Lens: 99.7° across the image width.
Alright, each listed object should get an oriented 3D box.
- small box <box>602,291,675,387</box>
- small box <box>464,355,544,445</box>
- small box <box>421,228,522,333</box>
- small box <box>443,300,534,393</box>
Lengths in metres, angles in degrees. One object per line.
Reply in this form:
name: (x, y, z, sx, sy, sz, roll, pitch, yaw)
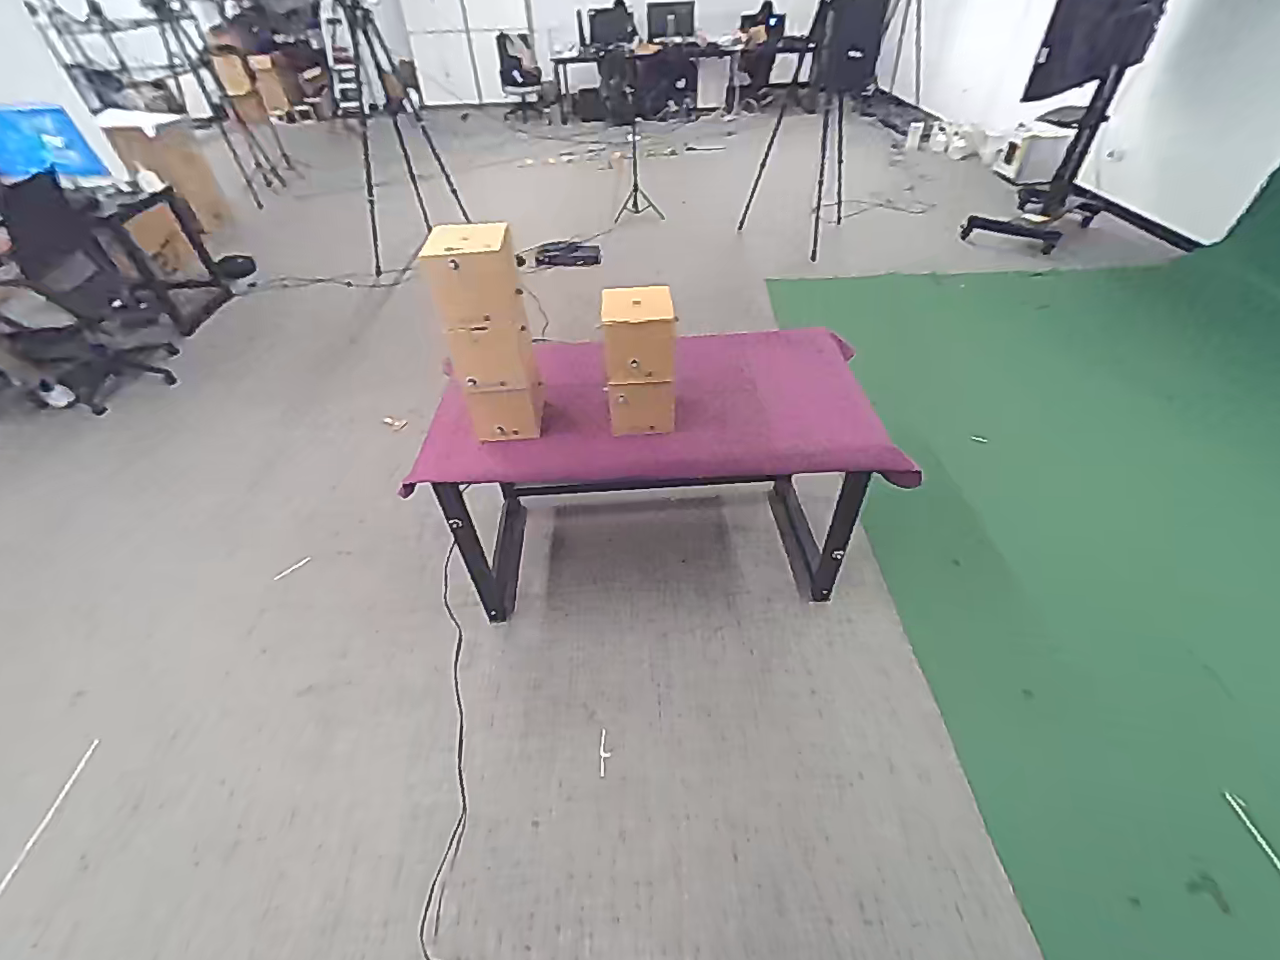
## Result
small box: (-0.005, -0.346, 1.325, 0.168, 0.176, 0.179, -4, 44, -1)
small box: (-0.354, -0.212, 1.442, 0.168, 0.176, 0.179, -4, 44, 0)
small box: (-0.367, -0.449, 1.217, 0.168, 0.176, 0.179, -5, 42, -1)
small box: (-0.360, -0.325, 1.324, 0.168, 0.176, 0.179, -4, 42, 0)
